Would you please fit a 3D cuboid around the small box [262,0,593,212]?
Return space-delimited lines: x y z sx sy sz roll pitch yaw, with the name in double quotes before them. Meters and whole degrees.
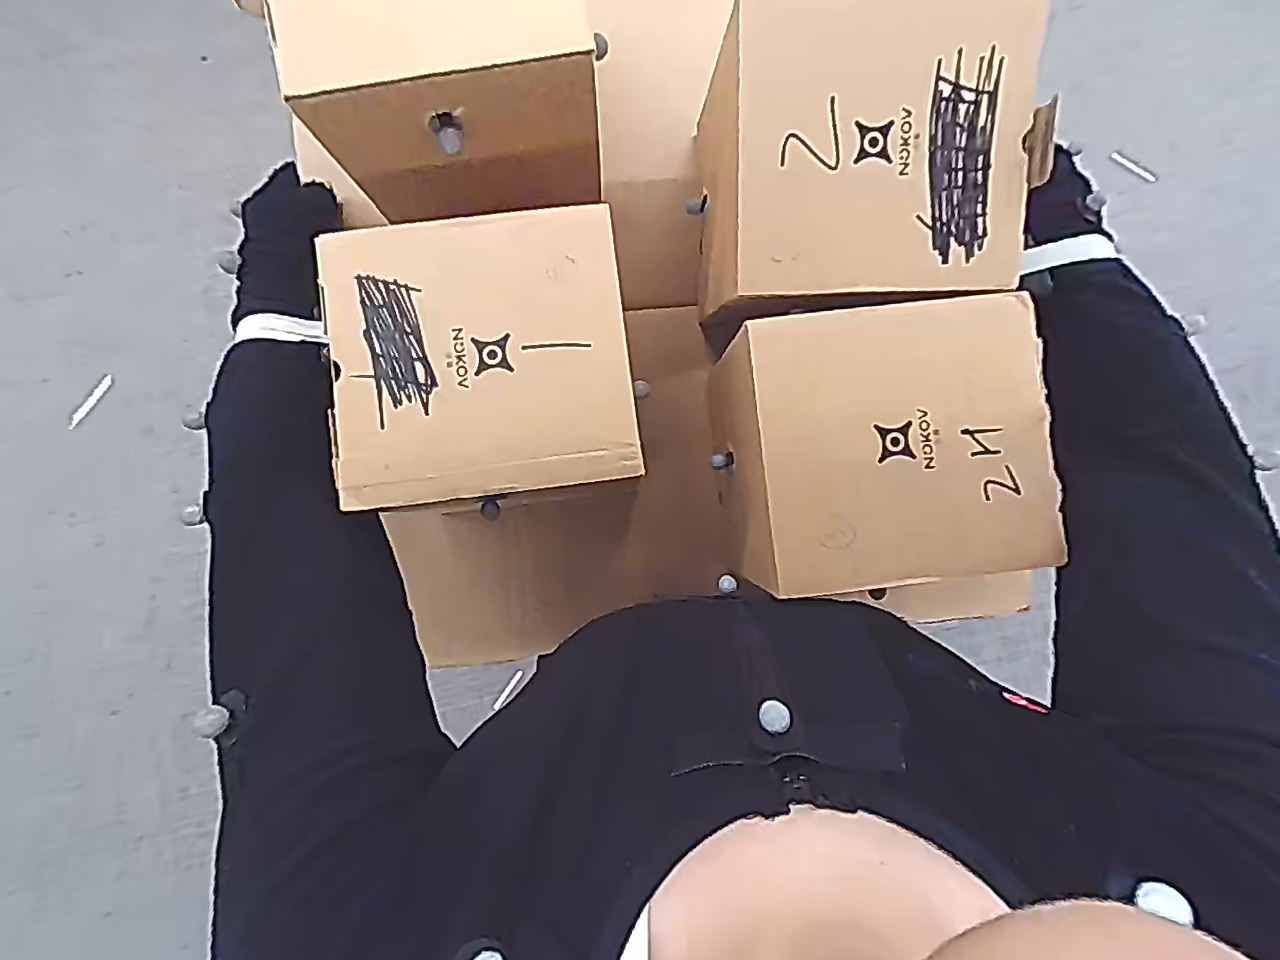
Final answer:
"small box" -0.130 -0.316 0.376 0.179 0.176 0.168 -10 90 -1
